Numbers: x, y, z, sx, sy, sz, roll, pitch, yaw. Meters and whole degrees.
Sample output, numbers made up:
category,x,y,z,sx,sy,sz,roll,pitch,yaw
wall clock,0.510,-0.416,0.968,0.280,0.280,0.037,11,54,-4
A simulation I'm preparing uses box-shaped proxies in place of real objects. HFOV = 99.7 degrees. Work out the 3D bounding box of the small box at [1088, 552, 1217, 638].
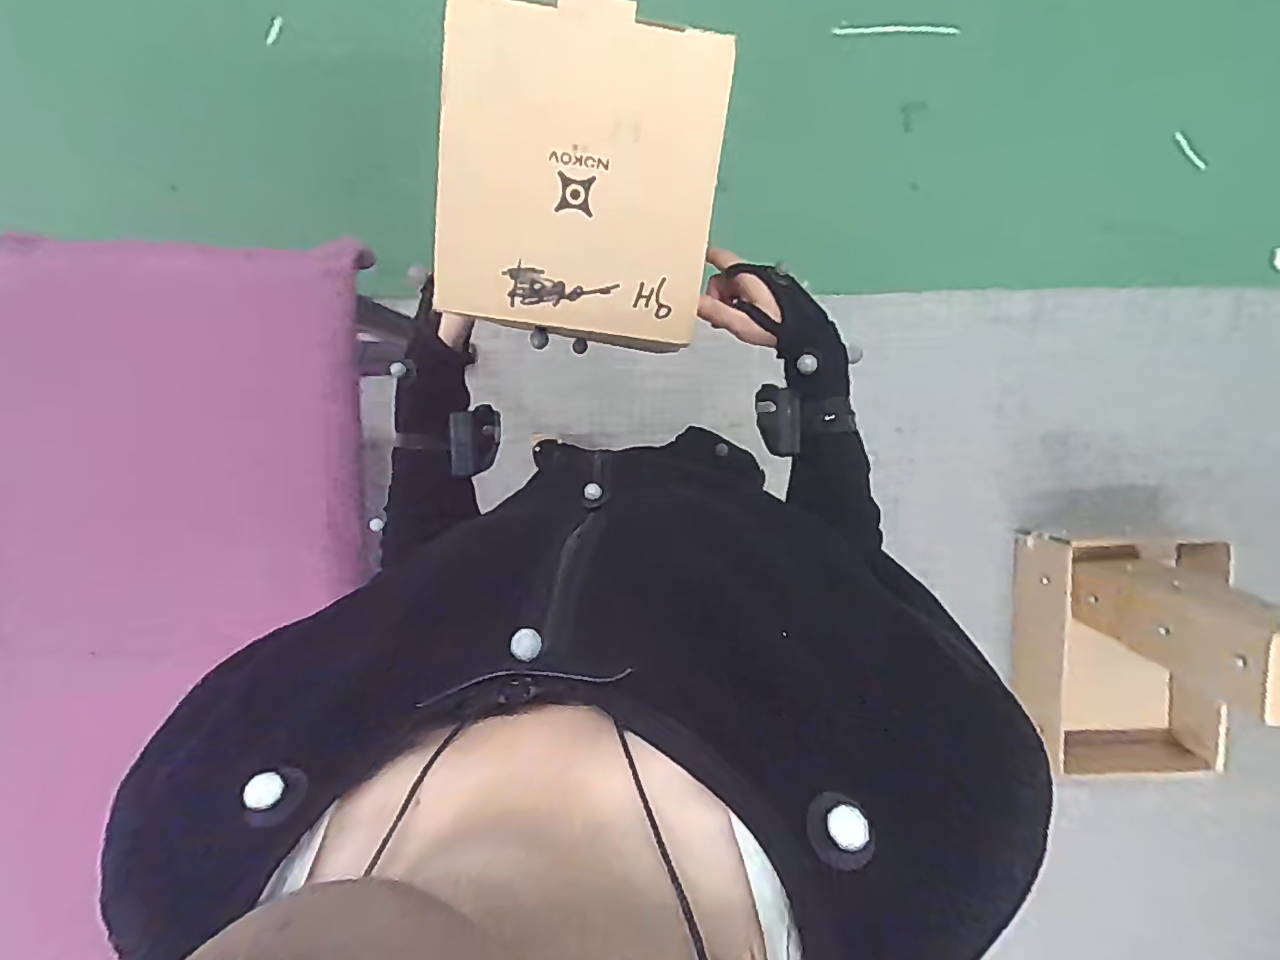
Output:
category,x,y,z,sx,sy,sz,roll,pitch,yaw
small box,1.265,0.282,1.348,0.179,0.176,0.168,-5,97,4

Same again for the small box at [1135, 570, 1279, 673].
category,x,y,z,sx,sy,sz,roll,pitch,yaw
small box,1.242,0.302,1.188,0.168,0.176,0.179,-4,97,5

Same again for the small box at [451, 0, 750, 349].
category,x,y,z,sx,sy,sz,roll,pitch,yaw
small box,-0.028,-0.199,0.406,0.168,0.176,0.179,8,103,-2
